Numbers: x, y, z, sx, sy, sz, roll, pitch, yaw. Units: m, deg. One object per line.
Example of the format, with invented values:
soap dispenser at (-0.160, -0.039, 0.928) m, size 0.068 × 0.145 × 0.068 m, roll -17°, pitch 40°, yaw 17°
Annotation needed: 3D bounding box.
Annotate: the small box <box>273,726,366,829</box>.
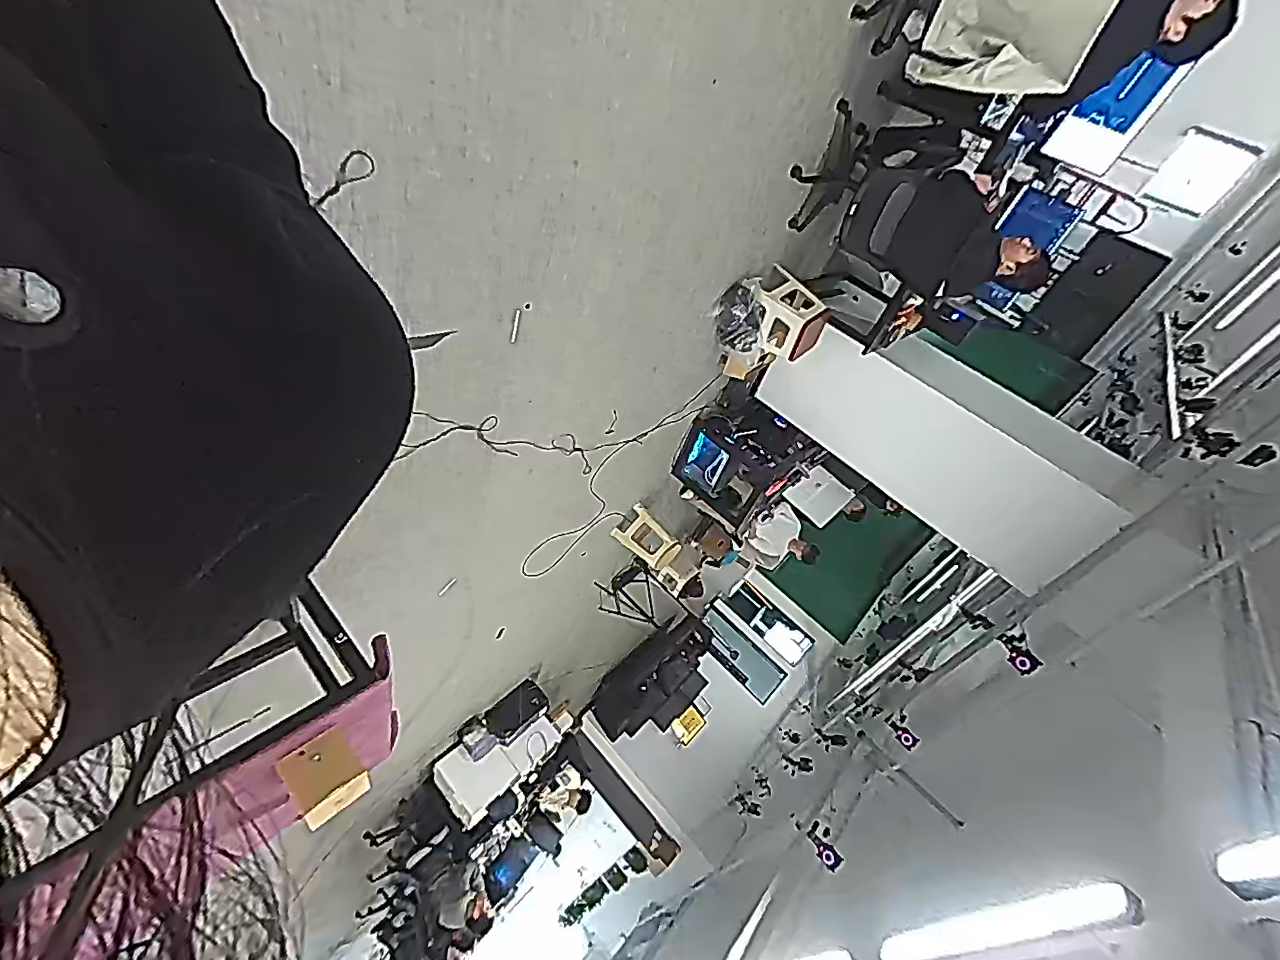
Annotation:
small box at (-0.899, 0.832, 1.524) m, size 0.168 × 0.176 × 0.179 m, roll -30°, pitch 153°, yaw -41°
